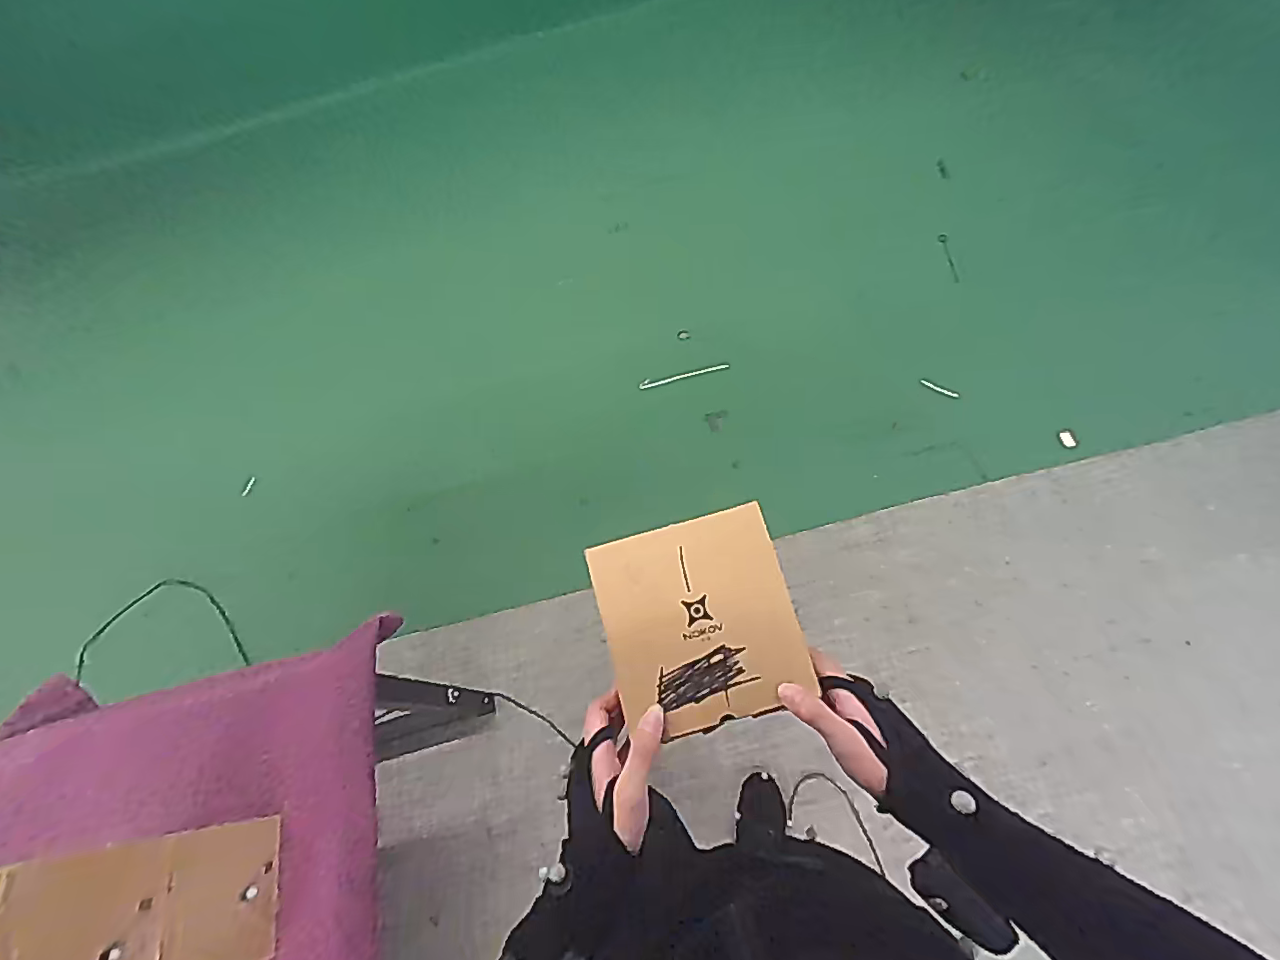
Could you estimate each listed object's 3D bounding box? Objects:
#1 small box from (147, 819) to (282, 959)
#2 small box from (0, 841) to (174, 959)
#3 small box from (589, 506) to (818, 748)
[{"bbox_3d":[-0.590,0.542,0.669,0.179,0.176,0.168,-16,64,2],"label":"small box"},{"bbox_3d":[-0.618,0.475,0.523,0.179,0.176,0.168,-16,63,2],"label":"small box"},{"bbox_3d":[0.056,0.141,0.546,0.168,0.176,0.179,-14,75,-1],"label":"small box"}]
